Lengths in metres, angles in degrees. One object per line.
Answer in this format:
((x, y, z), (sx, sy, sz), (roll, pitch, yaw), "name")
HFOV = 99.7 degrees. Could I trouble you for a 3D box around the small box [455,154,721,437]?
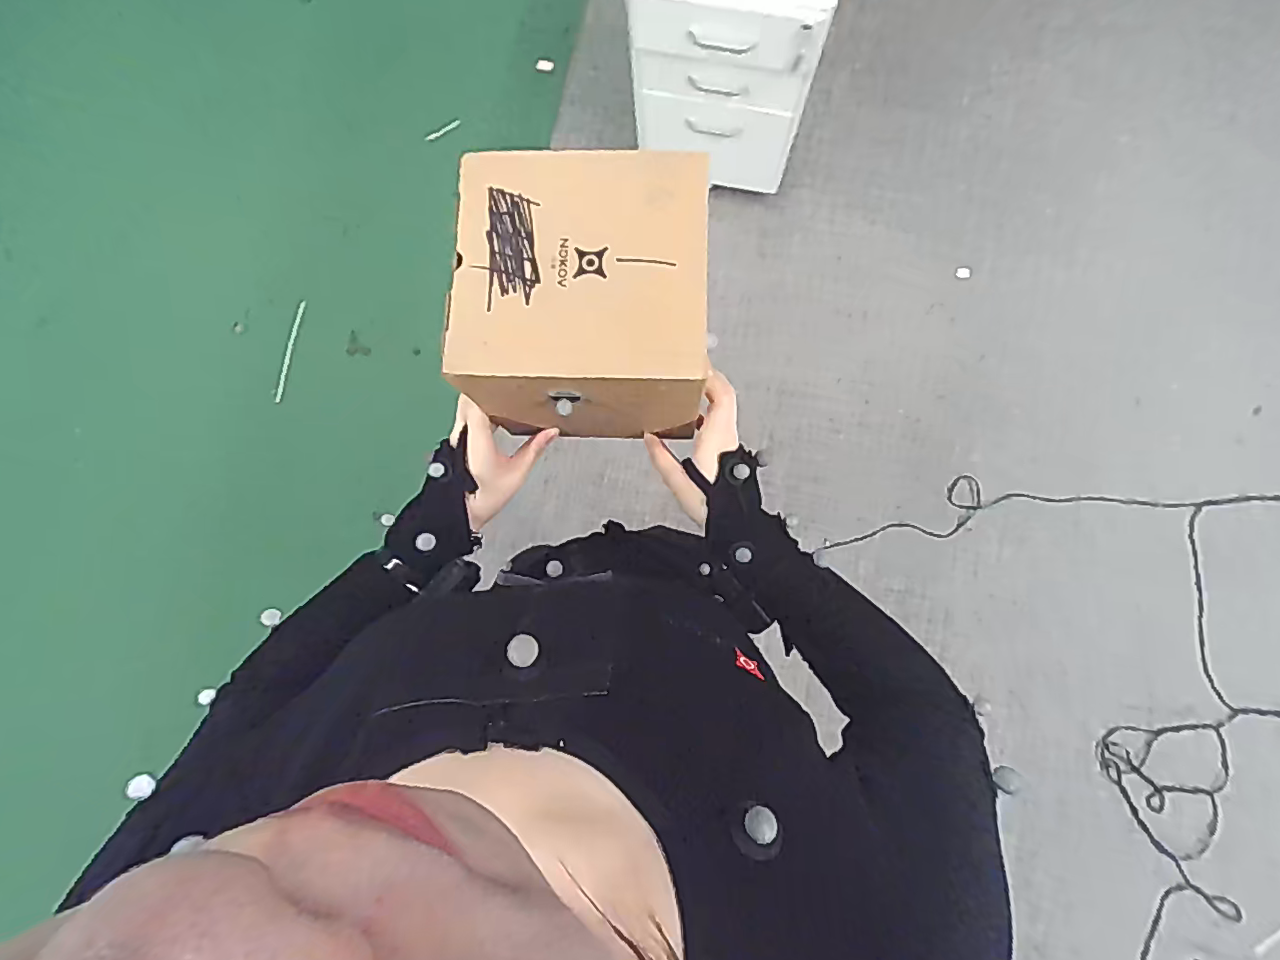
((-0.031, -0.135, 0.448), (0.179, 0.176, 0.168), (2, 81, 2), "small box")
